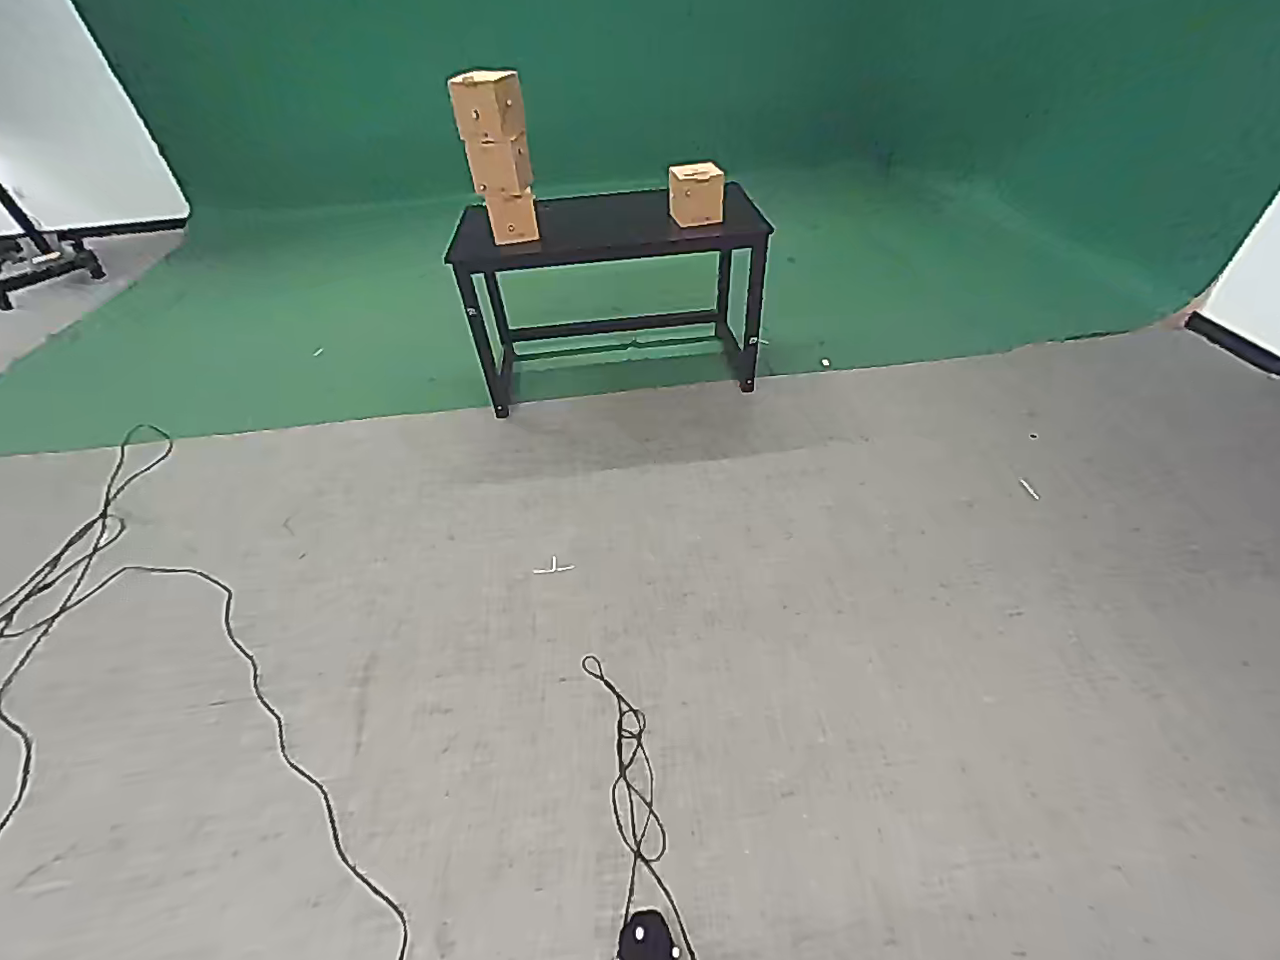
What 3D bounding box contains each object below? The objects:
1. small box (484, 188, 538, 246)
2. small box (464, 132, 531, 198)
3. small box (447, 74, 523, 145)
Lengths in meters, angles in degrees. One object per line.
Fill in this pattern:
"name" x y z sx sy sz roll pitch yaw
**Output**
"small box" -0.486 -0.999 2.034 0.168 0.176 0.179 -12 45 -9
"small box" -0.498 -1.117 1.920 0.168 0.176 0.179 3 44 7
"small box" -0.510 -1.240 1.811 0.168 0.176 0.179 11 47 14
